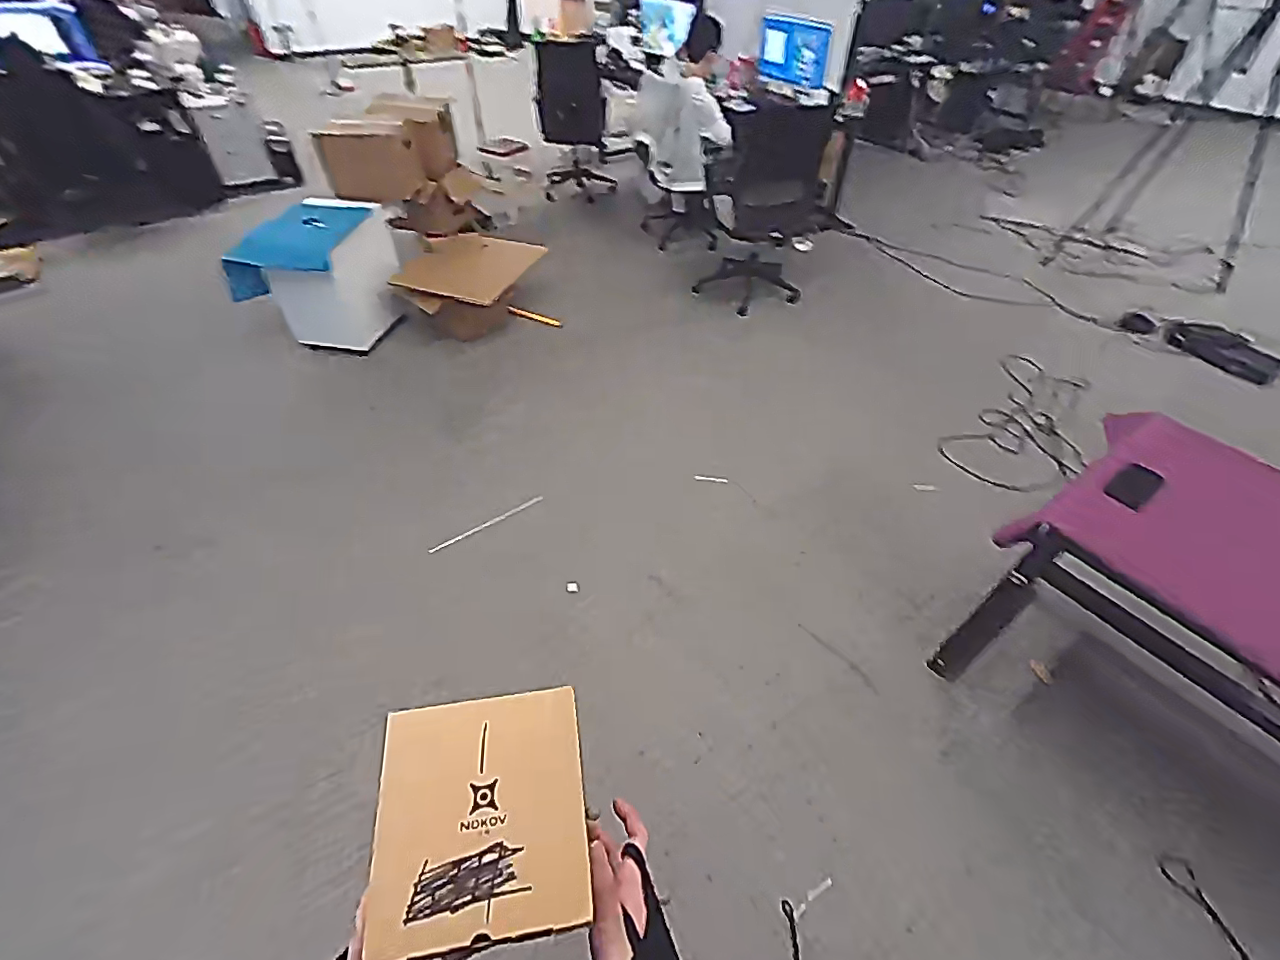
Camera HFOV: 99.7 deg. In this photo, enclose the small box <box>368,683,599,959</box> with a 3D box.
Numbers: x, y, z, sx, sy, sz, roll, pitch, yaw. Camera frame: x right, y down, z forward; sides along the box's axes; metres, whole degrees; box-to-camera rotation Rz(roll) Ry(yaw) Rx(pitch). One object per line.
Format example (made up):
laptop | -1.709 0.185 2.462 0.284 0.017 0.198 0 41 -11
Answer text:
small box | -0.128 0.311 0.506 0.168 0.176 0.179 -5 53 -7
